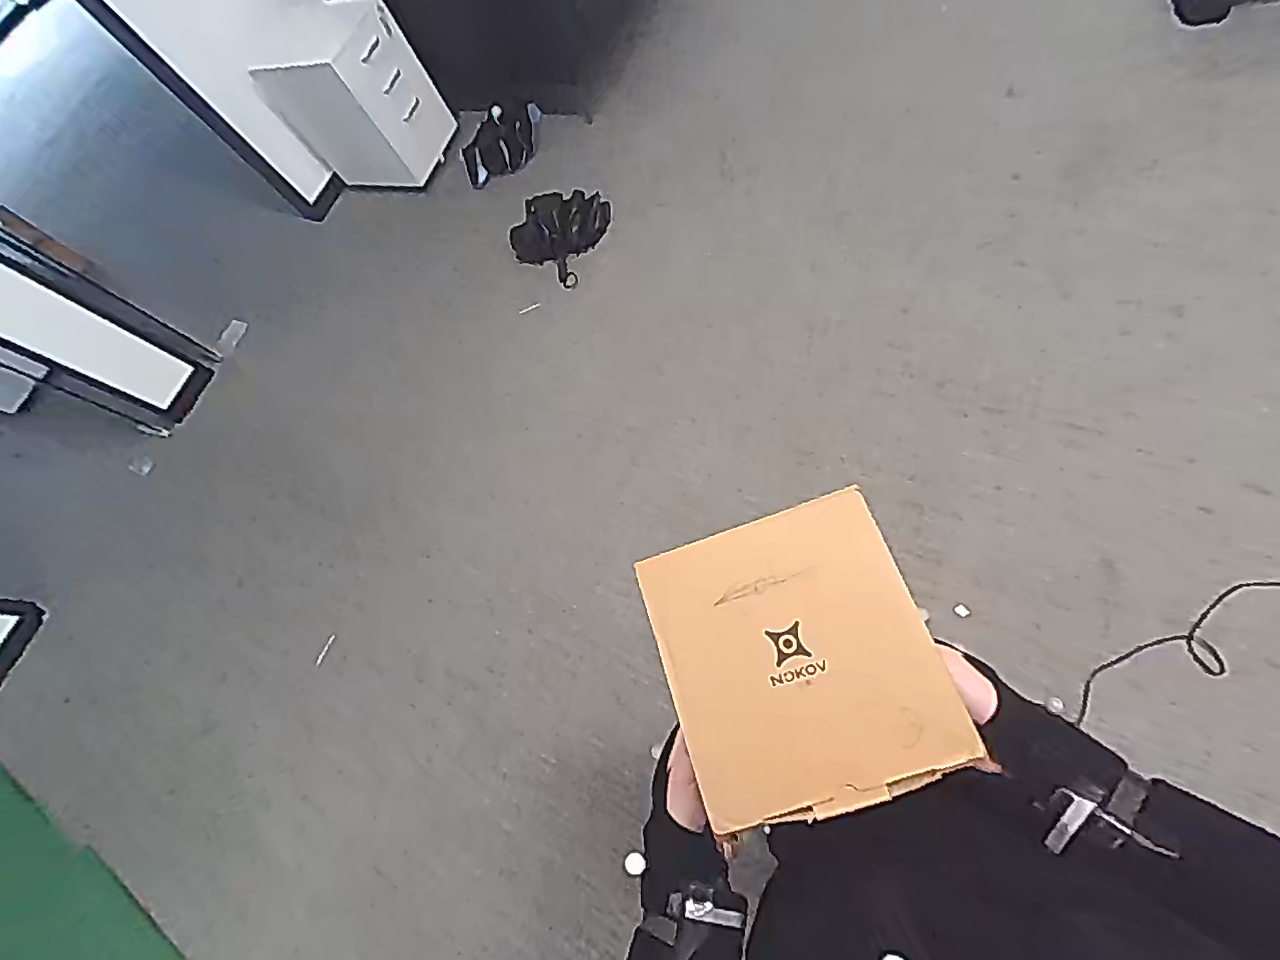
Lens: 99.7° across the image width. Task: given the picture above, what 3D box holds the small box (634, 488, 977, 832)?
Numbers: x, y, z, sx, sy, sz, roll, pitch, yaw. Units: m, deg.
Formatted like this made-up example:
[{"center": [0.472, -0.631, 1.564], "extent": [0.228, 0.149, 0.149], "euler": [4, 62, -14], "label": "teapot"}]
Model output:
[{"center": [0.113, 0.133, 0.419], "extent": [0.168, 0.176, 0.179], "euler": [-21, 67, 6], "label": "small box"}]
